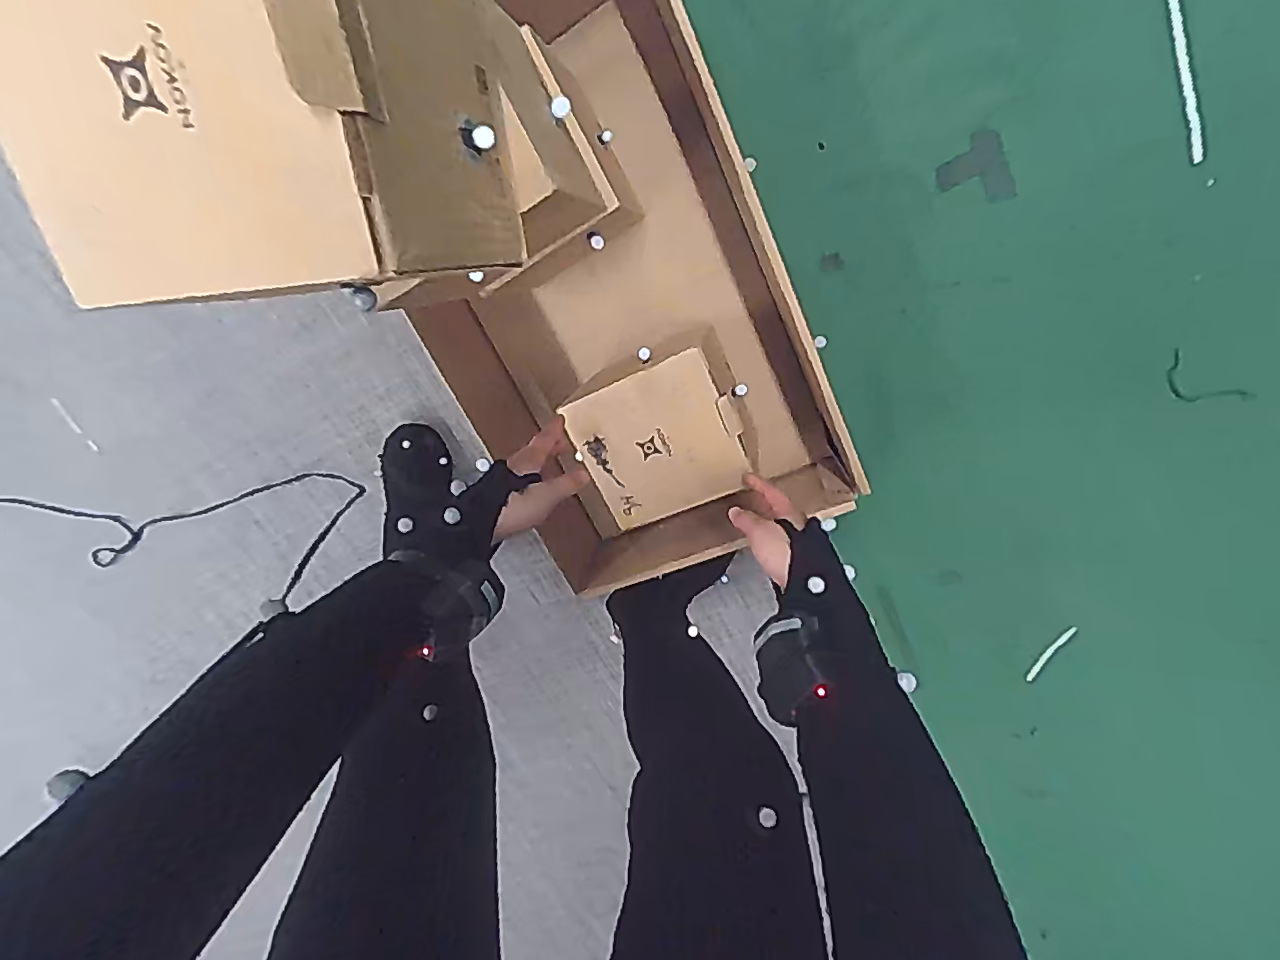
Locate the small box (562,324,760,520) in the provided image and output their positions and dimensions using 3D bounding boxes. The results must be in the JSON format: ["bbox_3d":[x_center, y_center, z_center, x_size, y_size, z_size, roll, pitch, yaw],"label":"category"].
[{"bbox_3d":[0.035,-0.079,0.666,0.179,0.176,0.168,-20,106,18],"label":"small box"}]

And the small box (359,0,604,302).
[{"bbox_3d":[-0.153,-0.264,0.439,0.179,0.176,0.168,-24,107,18],"label":"small box"}]

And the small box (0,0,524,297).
[{"bbox_3d":[-0.185,-0.196,0.295,0.179,0.176,0.168,-2,113,10],"label":"small box"}]

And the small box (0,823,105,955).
[{"bbox_3d":[-1.392,0.923,1.224,0.168,0.176,0.179,-27,105,18],"label":"small box"}]

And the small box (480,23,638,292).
[{"bbox_3d":[-0.114,-0.327,0.585,0.179,0.176,0.168,-25,106,19],"label":"small box"}]
